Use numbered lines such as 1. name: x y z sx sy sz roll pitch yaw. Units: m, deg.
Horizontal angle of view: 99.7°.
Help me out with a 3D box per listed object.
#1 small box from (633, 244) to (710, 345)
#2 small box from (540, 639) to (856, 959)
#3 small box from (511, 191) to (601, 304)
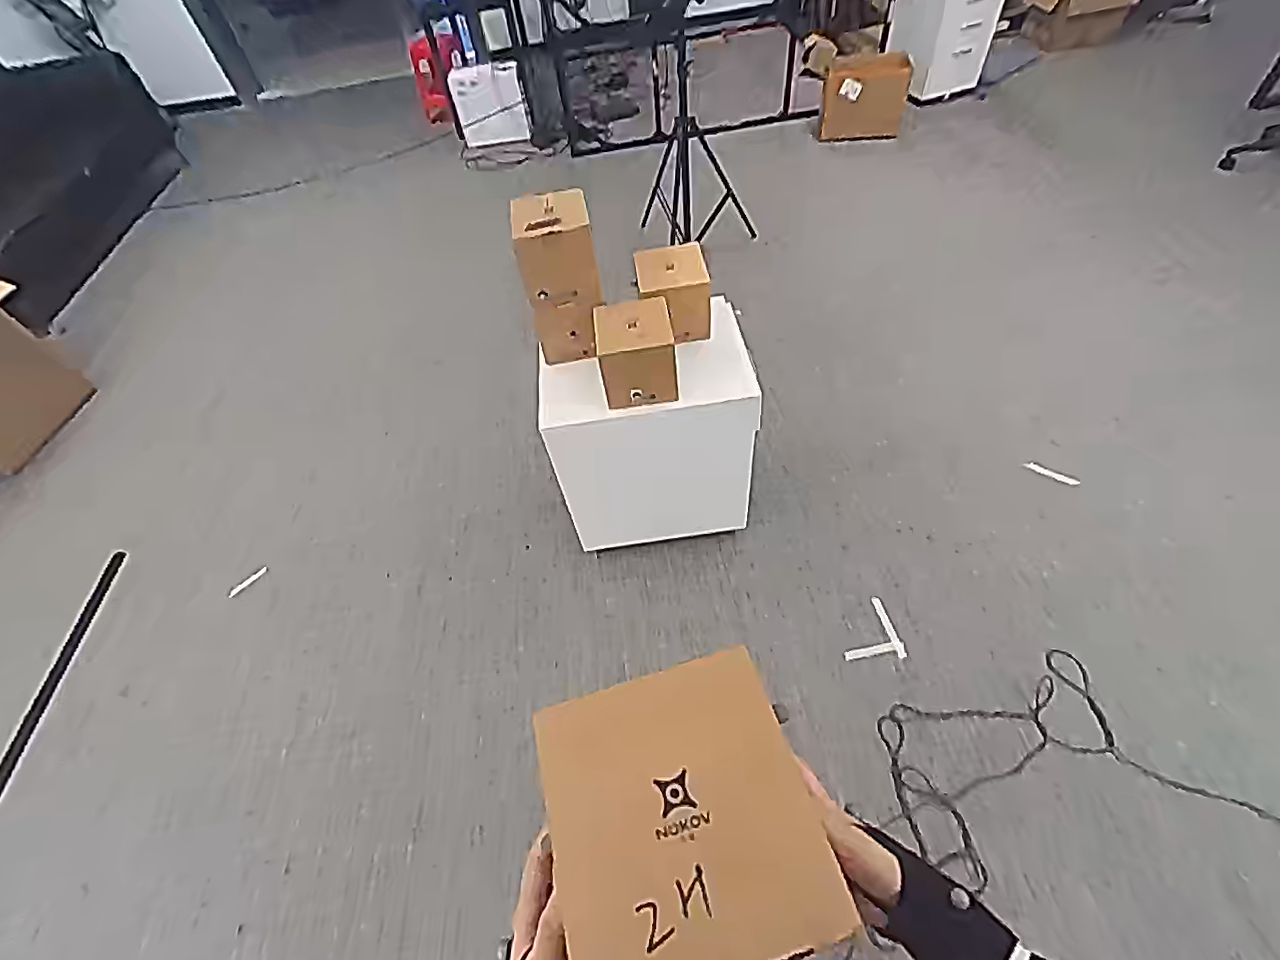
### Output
1. small box: 0.081 -0.455 1.352 0.168 0.176 0.179 -9 52 2
2. small box: 0.033 0.253 0.414 0.168 0.176 0.179 -16 53 -4
3. small box: -0.187 -0.517 1.224 0.168 0.176 0.179 -11 52 -1
